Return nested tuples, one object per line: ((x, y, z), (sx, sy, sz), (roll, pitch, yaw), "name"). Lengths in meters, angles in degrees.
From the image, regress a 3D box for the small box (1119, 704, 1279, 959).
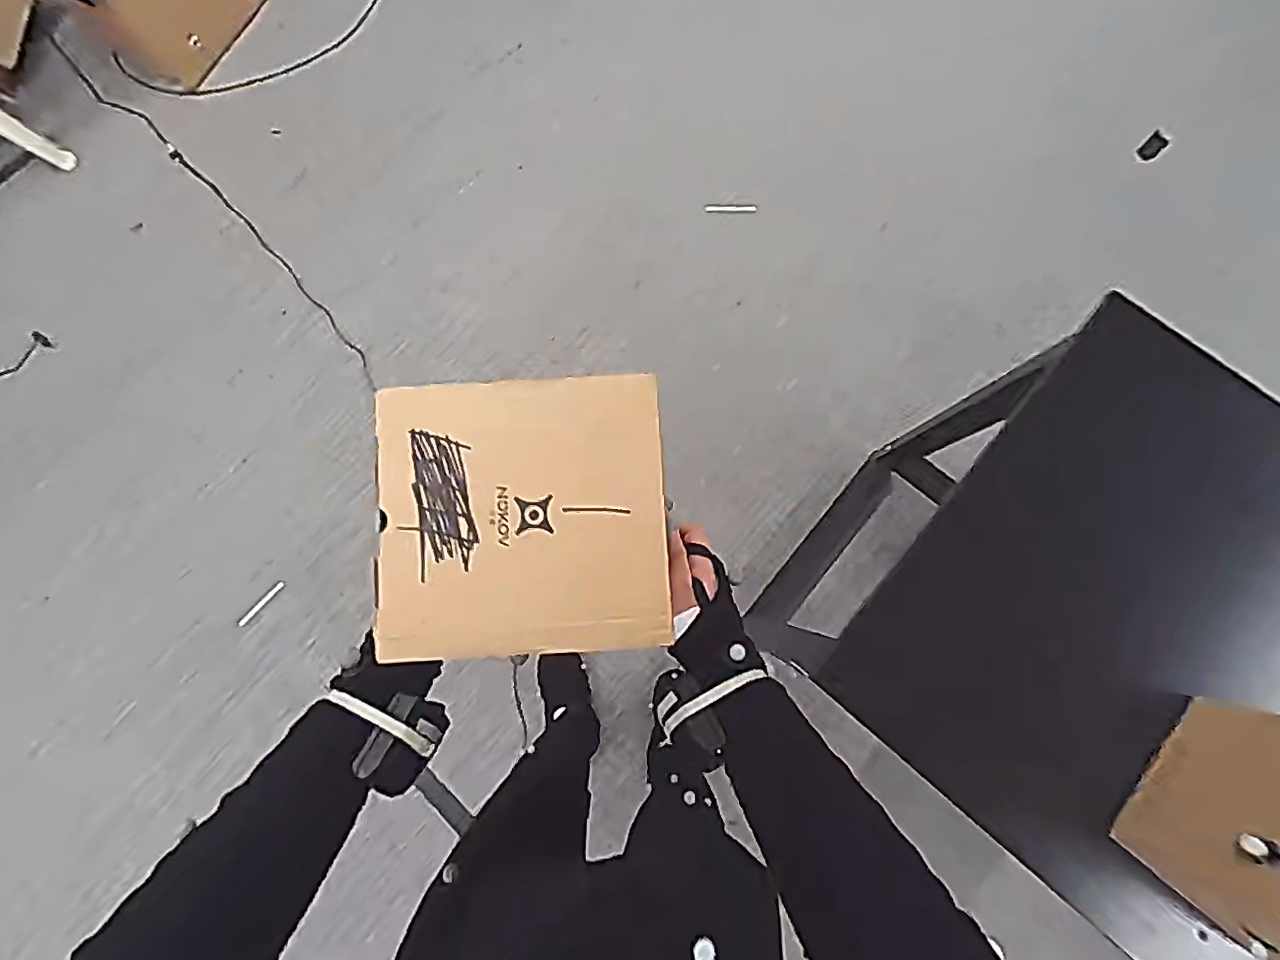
((0.588, 0.332, 0.475), (0.168, 0.176, 0.179), (40, 81, 8), "small box")

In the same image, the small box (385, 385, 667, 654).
((-0.072, 0.033, 0.419), (0.179, 0.176, 0.168), (-3, 83, -1), "small box")
